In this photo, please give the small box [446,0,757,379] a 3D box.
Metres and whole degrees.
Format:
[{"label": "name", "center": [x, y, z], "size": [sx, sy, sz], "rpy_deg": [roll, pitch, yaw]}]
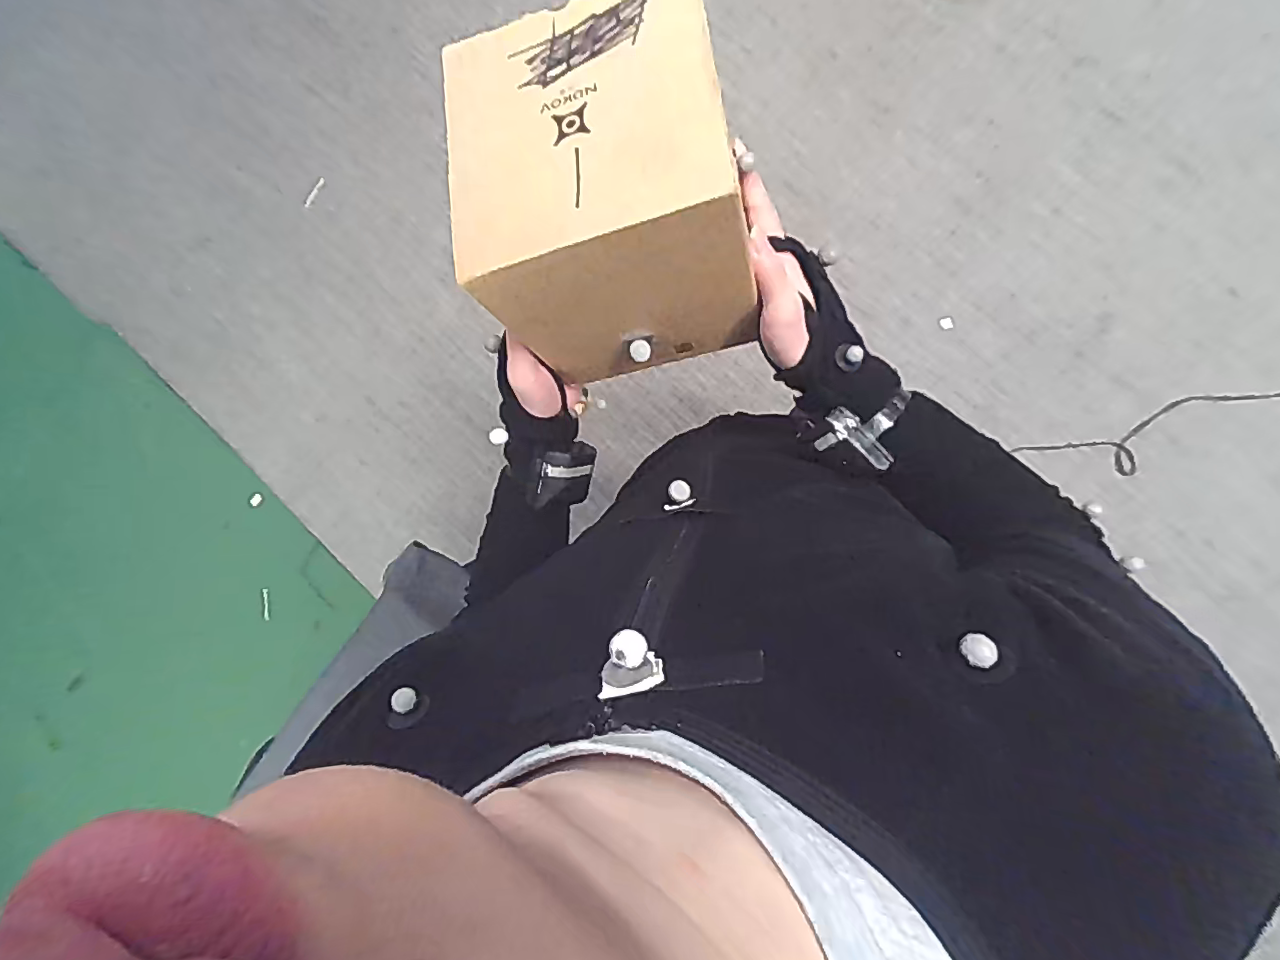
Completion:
[{"label": "small box", "center": [-0.016, -0.196, 0.386], "size": [0.168, 0.176, 0.179], "rpy_deg": [-11, 76, 15]}]
